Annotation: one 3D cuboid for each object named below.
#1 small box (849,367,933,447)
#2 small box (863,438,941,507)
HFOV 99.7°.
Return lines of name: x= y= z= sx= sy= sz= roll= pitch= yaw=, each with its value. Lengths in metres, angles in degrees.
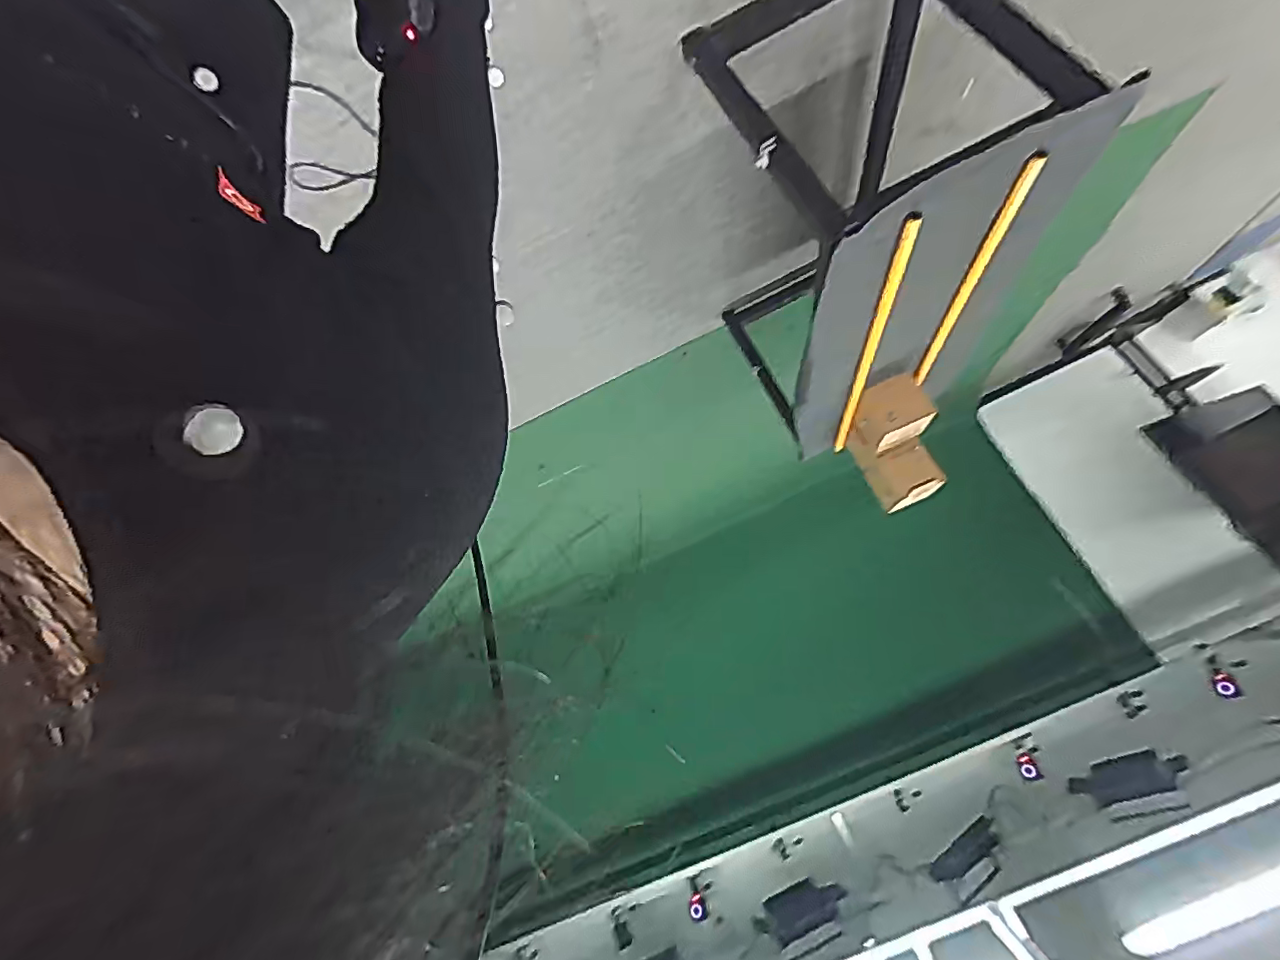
small box: x=0.816 y=-0.240 z=1.781 sx=0.179 sy=0.176 sz=0.168 roll=-25 pitch=159 yaw=1
small box: x=0.928 y=-0.030 z=1.933 sx=0.168 sy=0.176 sz=0.179 roll=-23 pitch=159 yaw=0
